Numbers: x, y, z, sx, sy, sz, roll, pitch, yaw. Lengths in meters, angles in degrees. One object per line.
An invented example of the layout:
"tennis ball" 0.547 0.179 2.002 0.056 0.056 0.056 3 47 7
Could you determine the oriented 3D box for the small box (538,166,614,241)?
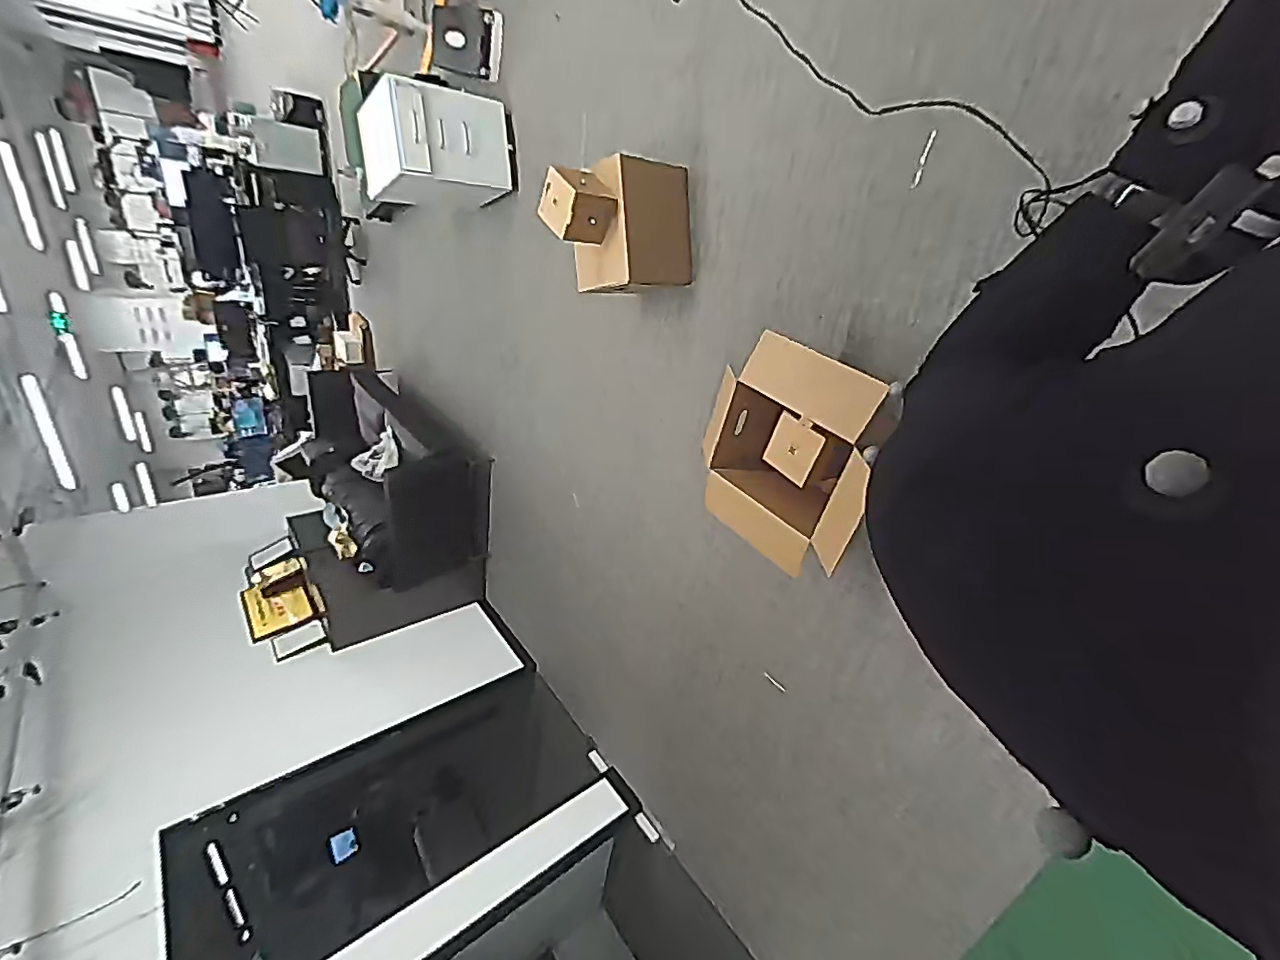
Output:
"small box" -0.213 -0.928 1.827 0.179 0.176 0.168 52 136 24
